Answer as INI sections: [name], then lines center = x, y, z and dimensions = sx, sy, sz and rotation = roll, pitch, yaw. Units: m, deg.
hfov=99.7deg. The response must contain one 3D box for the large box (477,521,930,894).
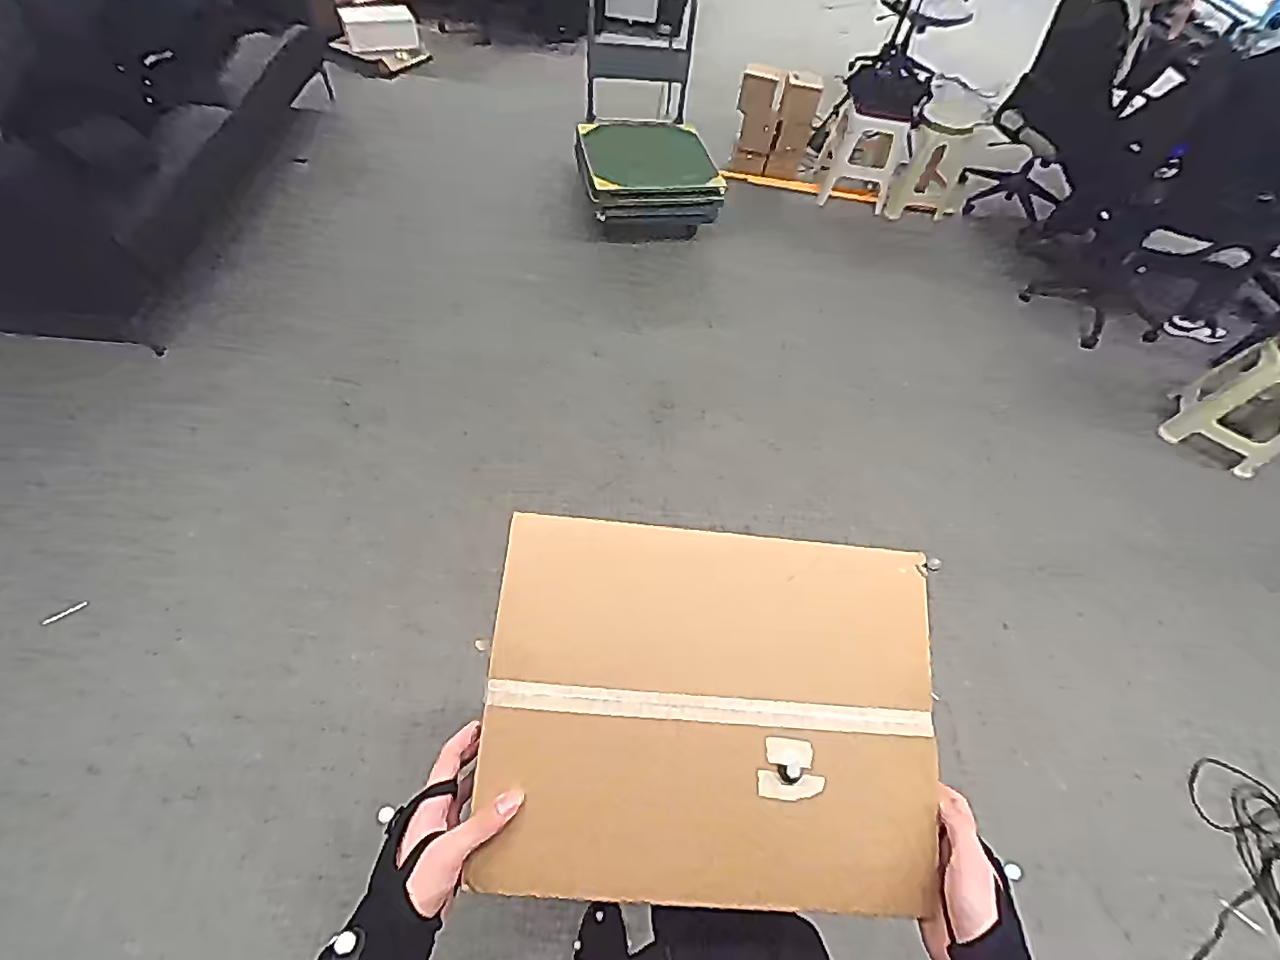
[large box]
center = 0.051, 0.238, 0.639
dimensions = 0.408, 0.320, 0.320
rotation = 5, 77, -5
